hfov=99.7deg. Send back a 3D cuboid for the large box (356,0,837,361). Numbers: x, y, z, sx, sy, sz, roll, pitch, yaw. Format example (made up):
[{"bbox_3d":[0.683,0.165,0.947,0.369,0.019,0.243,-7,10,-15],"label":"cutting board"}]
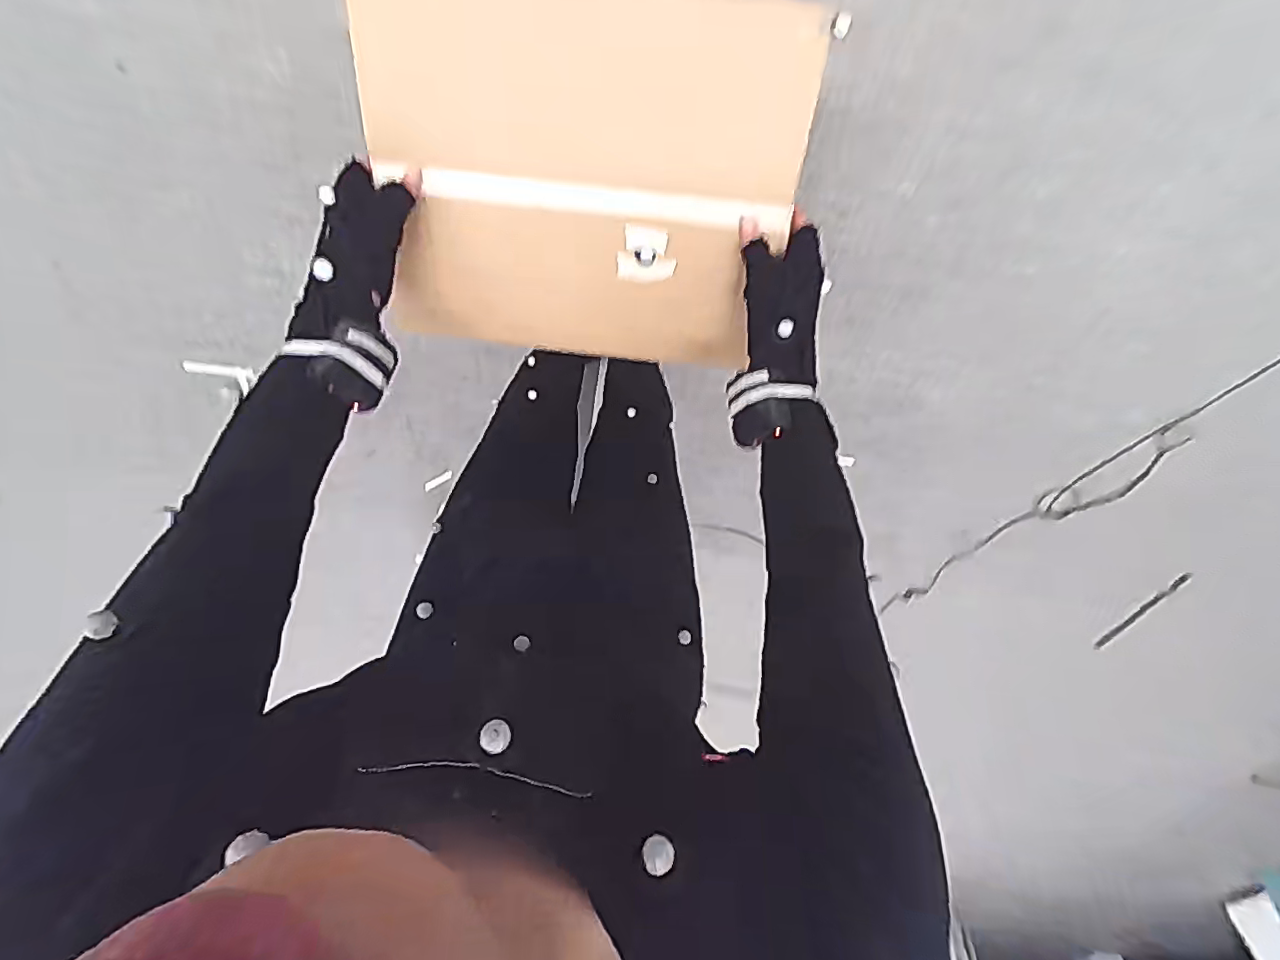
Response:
[{"bbox_3d":[-0.045,-0.355,0.641,0.408,0.320,0.320,5,124,-1],"label":"large box"}]
